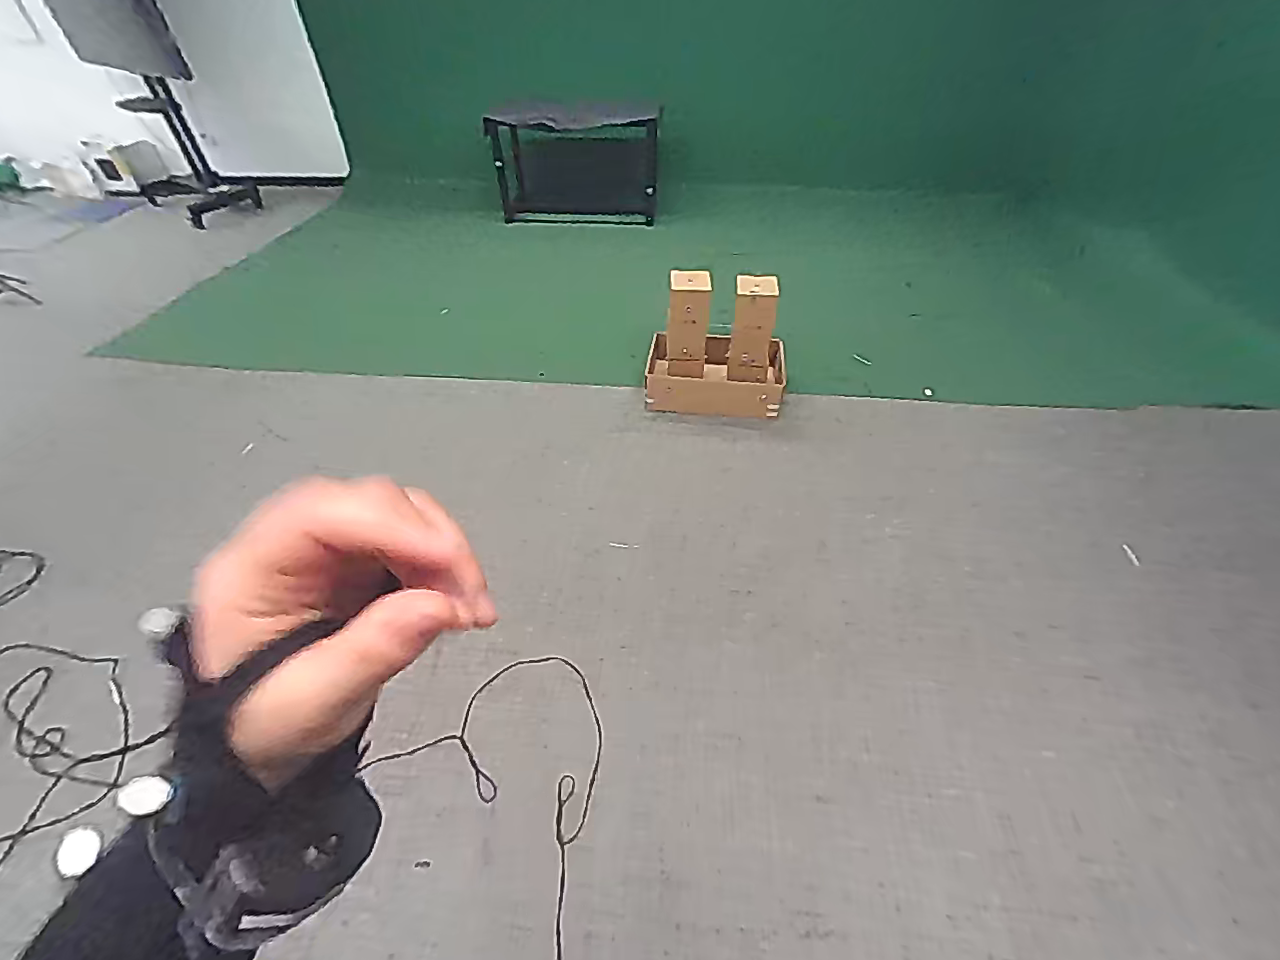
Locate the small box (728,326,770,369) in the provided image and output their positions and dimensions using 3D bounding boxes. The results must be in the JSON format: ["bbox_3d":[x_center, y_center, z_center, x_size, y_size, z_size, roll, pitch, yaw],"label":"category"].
[{"bbox_3d":[0.480,-0.612,2.387,0.168,0.176,0.179,5,46,8],"label":"small box"}]

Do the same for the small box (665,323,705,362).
[{"bbox_3d":[0.200,-0.650,2.429,0.168,0.176,0.179,1,46,1],"label":"small box"}]

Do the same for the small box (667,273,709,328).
[{"bbox_3d":[0.202,-0.765,2.311,0.168,0.176,0.179,2,45,0],"label":"small box"}]

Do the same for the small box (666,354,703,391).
[{"bbox_3d":[0.208,-0.541,2.553,0.168,0.176,0.179,3,45,2],"label":"small box"}]

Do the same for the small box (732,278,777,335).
[{"bbox_3d":[0.476,-0.730,2.272,0.168,0.176,0.179,3,44,6],"label":"small box"}]
